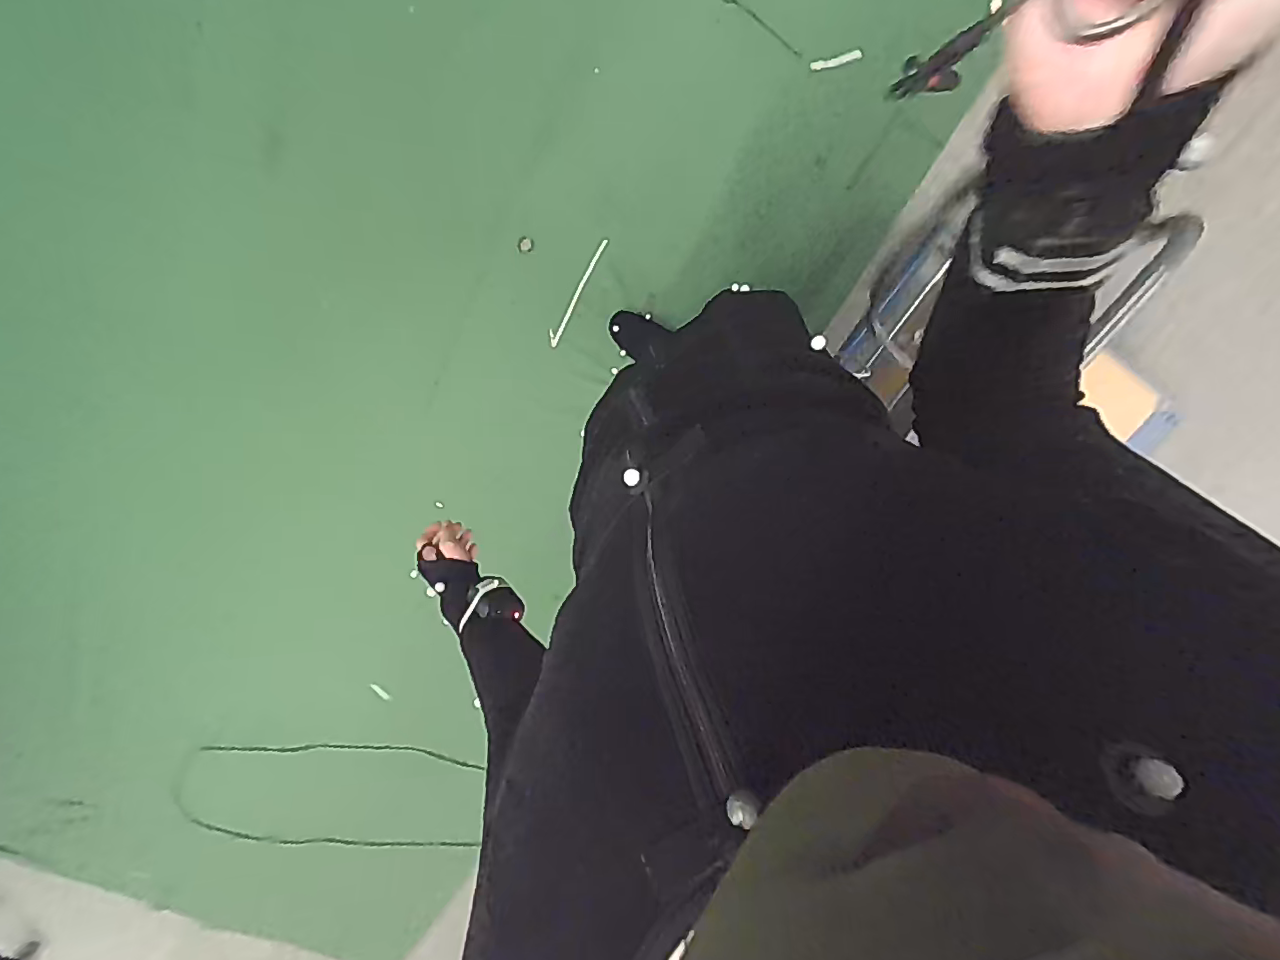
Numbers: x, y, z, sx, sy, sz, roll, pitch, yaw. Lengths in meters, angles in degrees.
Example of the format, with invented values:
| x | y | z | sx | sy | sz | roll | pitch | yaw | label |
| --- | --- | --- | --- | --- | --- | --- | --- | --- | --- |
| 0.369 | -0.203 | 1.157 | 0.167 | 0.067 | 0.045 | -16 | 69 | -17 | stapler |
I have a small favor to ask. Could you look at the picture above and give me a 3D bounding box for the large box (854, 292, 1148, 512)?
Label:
| x | y | z | sx | sy | sz | roll | pitch | yaw | label |
| --- | --- | --- | --- | --- | --- | --- | --- | --- | --- |
| 0.796 | -0.195 | 1.255 | 0.408 | 0.320 | 0.320 | 29 | 109 | -12 | large box |
